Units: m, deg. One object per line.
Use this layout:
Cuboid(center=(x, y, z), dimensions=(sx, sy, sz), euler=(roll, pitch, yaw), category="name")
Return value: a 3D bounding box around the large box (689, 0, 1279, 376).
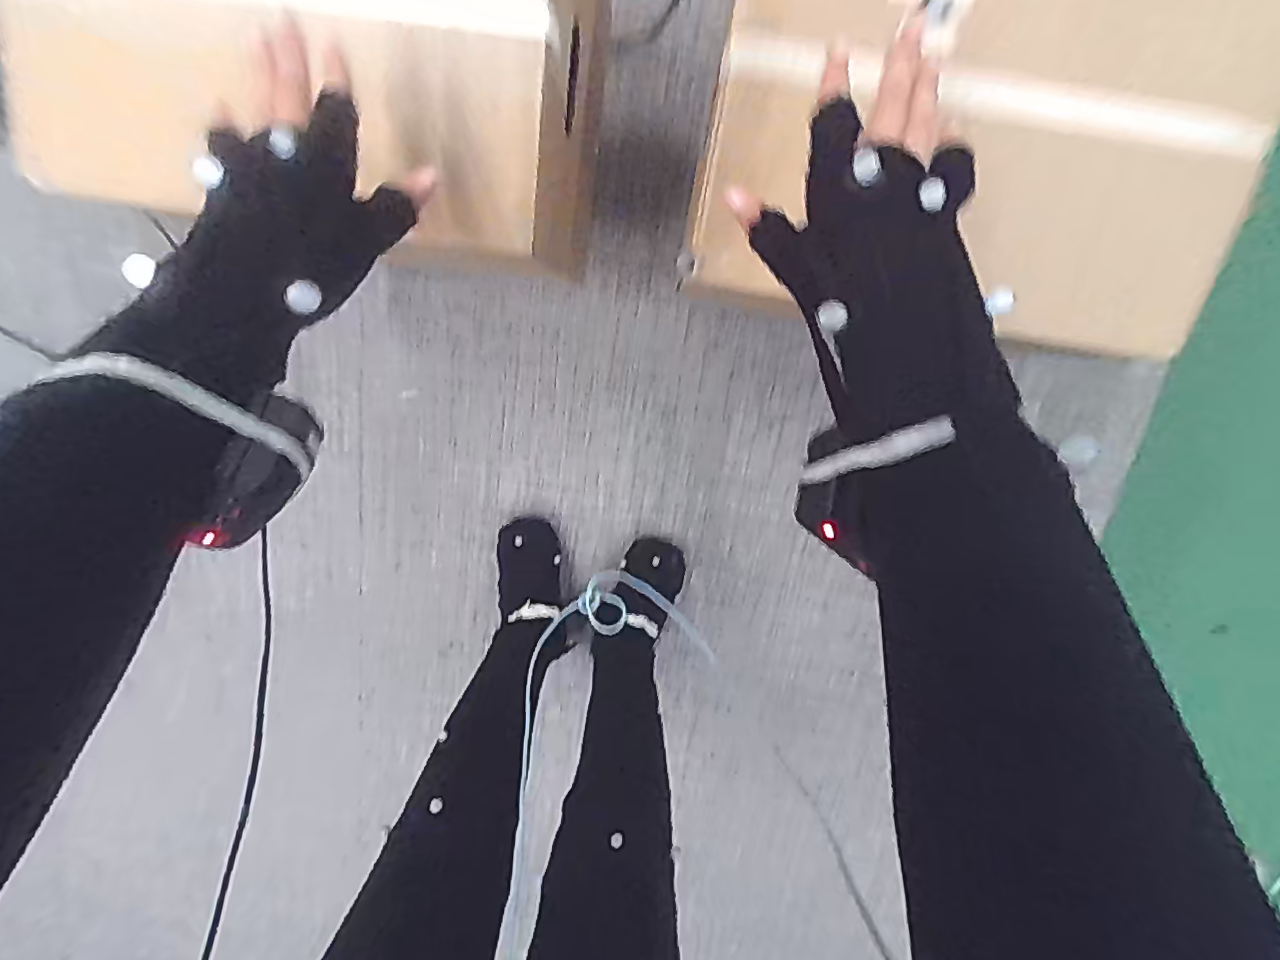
Cuboid(center=(0.280, -0.307, 0.575), dimensions=(0.408, 0.320, 0.320), euler=(10, 105, 0), category="large box")
